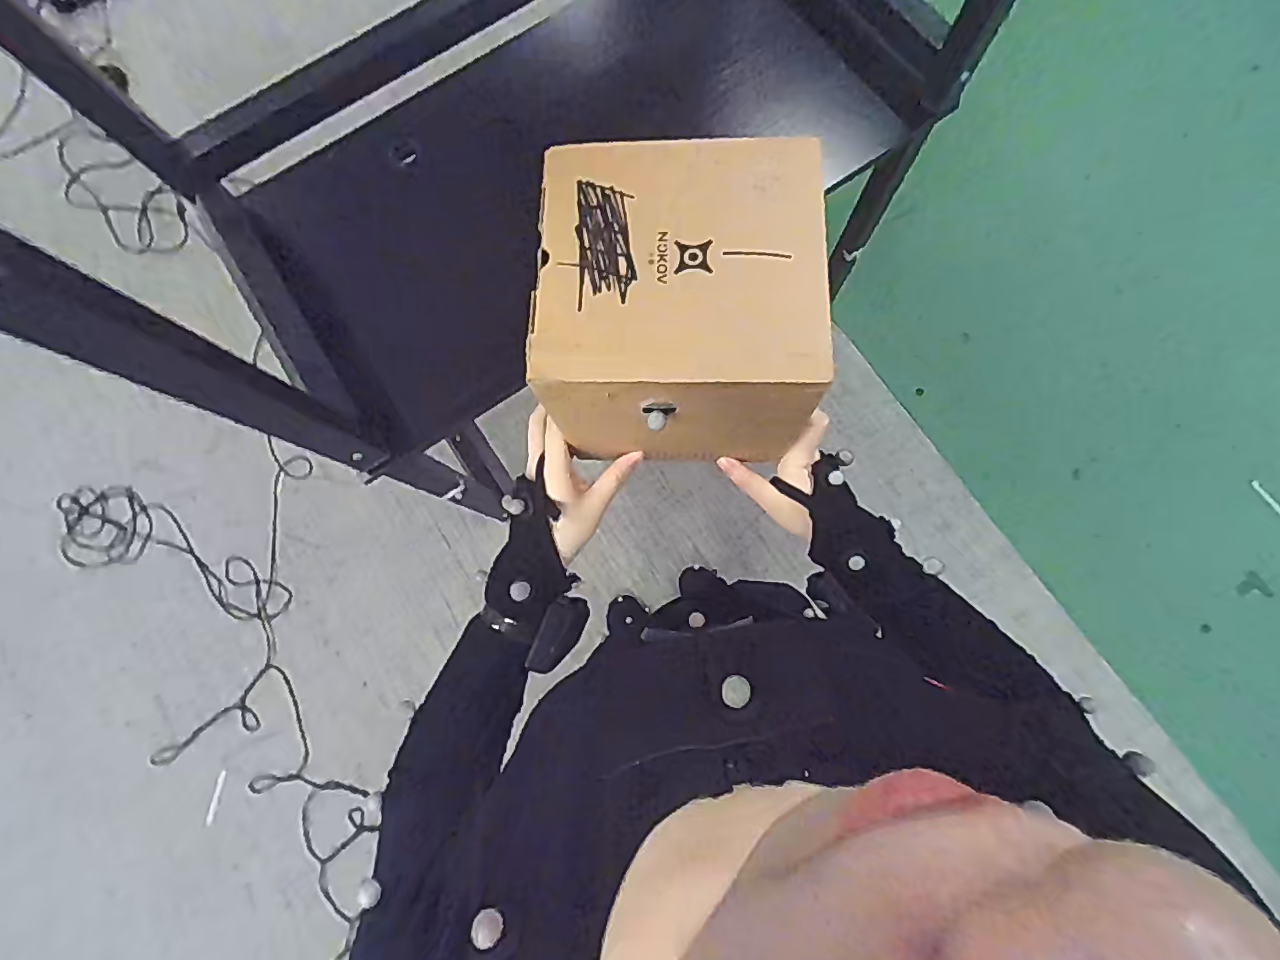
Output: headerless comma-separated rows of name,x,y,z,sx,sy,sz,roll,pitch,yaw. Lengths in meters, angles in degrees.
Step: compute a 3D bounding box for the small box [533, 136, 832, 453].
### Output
small box,0.032,-0.121,0.408,0.179,0.176,0.168,1,77,4
